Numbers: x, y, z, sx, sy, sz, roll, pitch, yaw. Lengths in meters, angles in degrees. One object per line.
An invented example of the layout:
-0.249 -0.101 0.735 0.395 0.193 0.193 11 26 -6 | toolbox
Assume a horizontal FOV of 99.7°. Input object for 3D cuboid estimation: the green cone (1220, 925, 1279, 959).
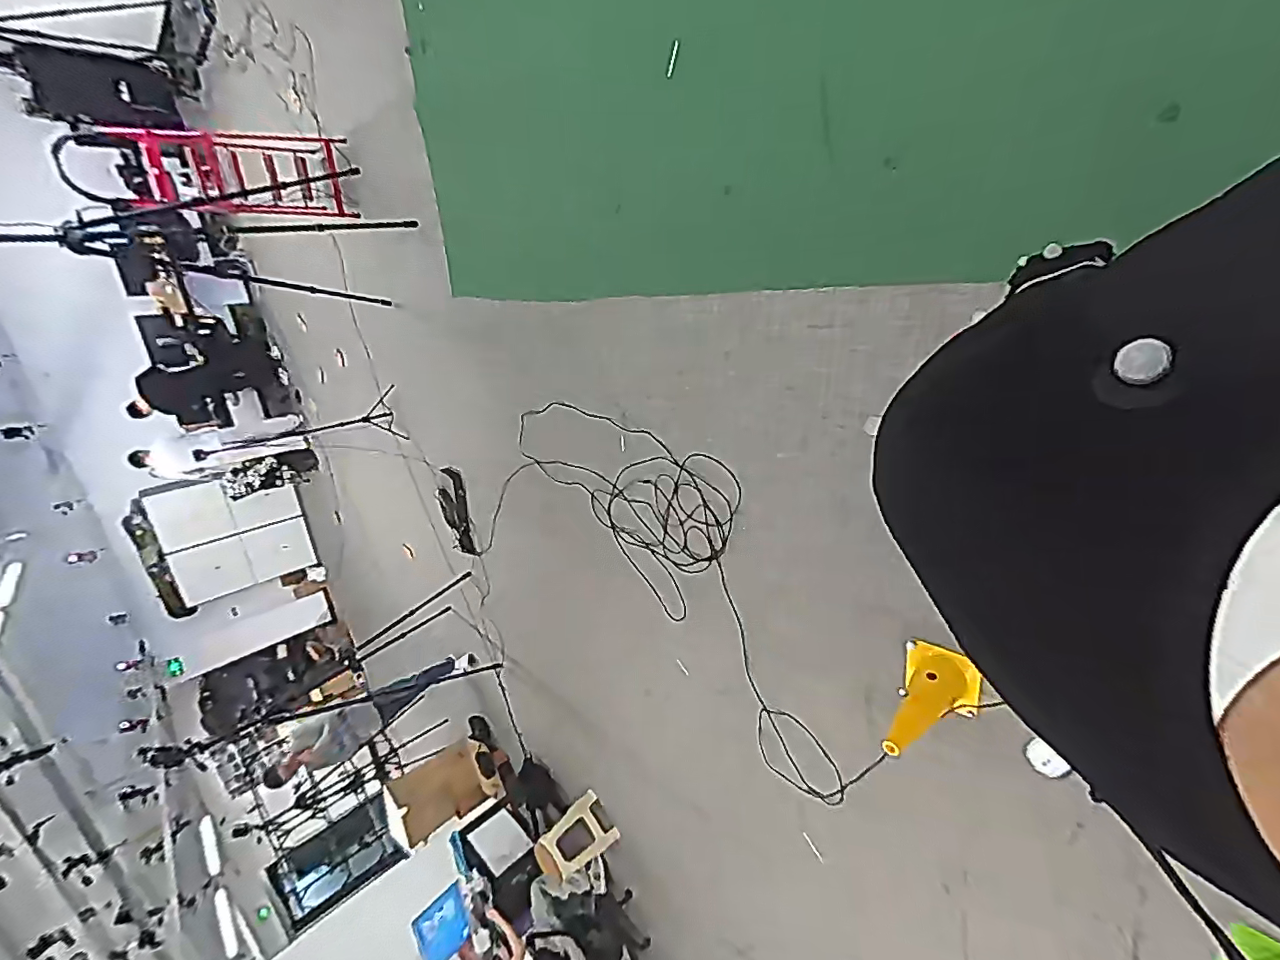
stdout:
1.338 1.183 1.112 0.202 0.368 0.200 16 118 46 | green cone
